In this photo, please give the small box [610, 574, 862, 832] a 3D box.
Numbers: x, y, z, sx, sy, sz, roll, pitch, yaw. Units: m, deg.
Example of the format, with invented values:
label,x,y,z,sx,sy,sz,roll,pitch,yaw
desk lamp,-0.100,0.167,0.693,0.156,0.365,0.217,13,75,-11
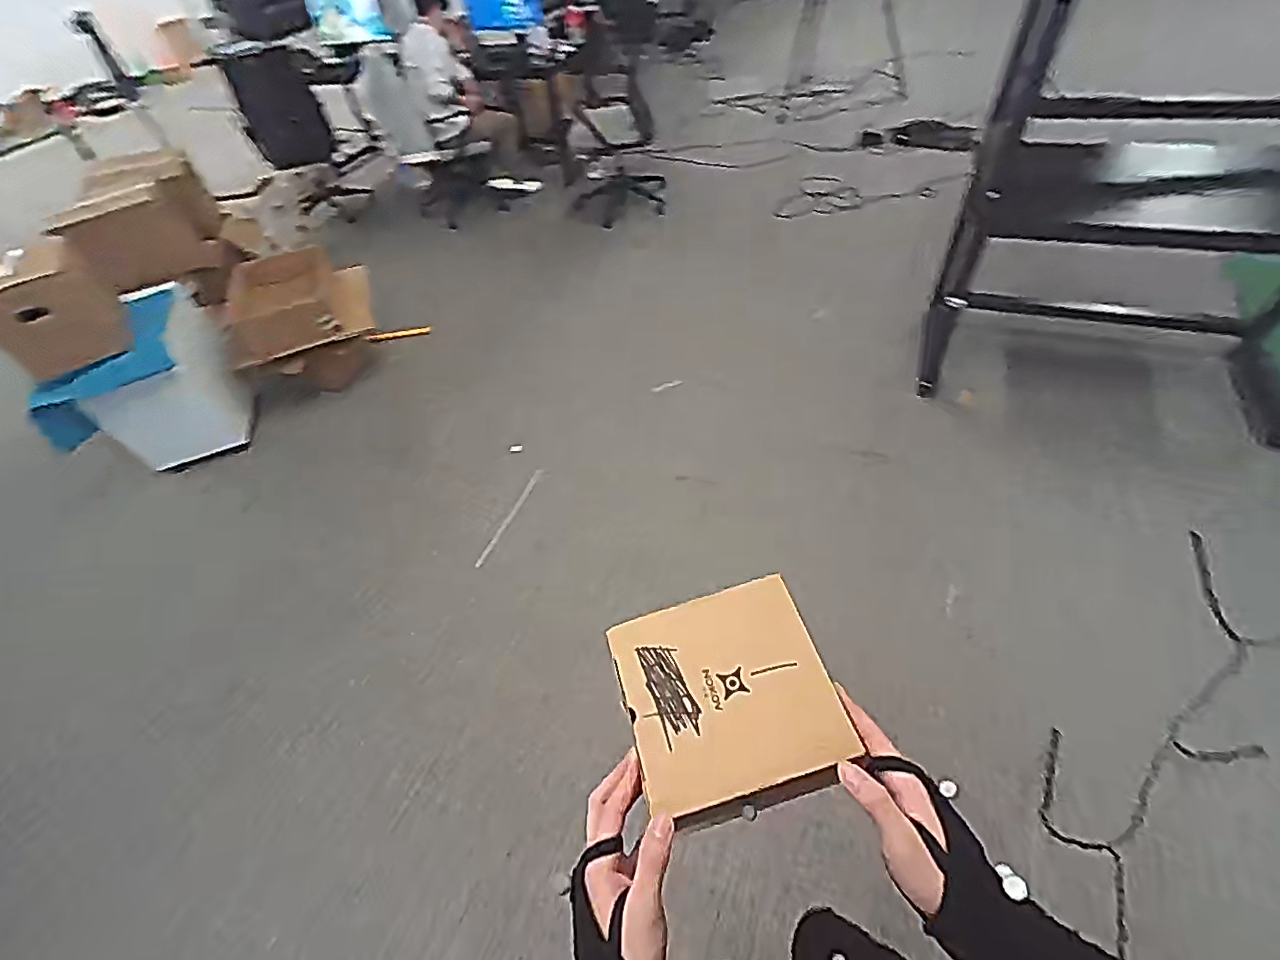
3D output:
label,x,y,z,sx,sy,sz,roll,pitch,yaw
small box,0.086,0.221,0.524,0.179,0.176,0.168,-17,53,-1
